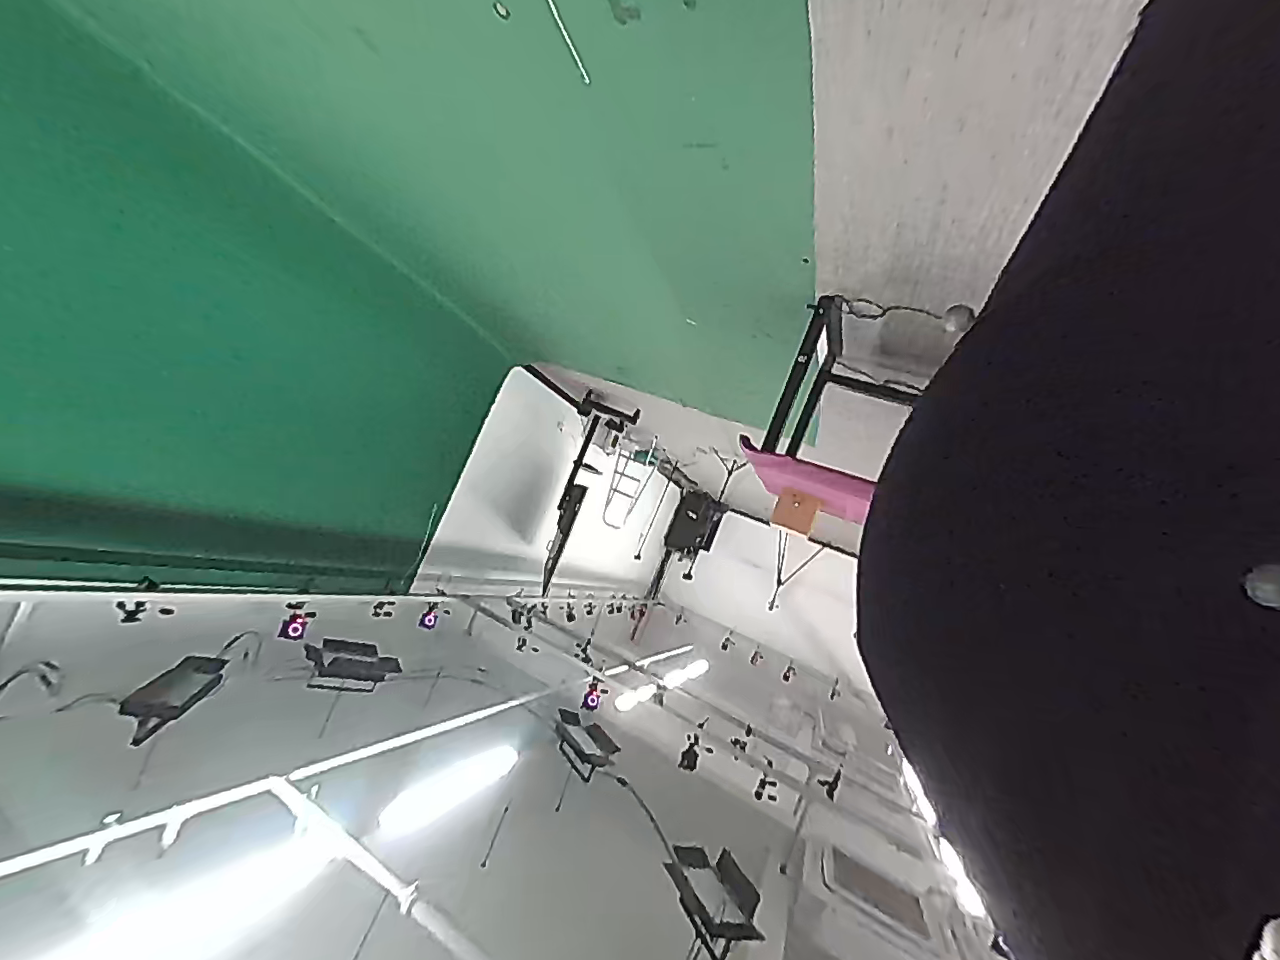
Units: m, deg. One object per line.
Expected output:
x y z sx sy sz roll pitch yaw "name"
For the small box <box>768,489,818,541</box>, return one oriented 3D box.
0.677 0.154 2.374 0.168 0.176 0.179 20 174 21 "small box"
